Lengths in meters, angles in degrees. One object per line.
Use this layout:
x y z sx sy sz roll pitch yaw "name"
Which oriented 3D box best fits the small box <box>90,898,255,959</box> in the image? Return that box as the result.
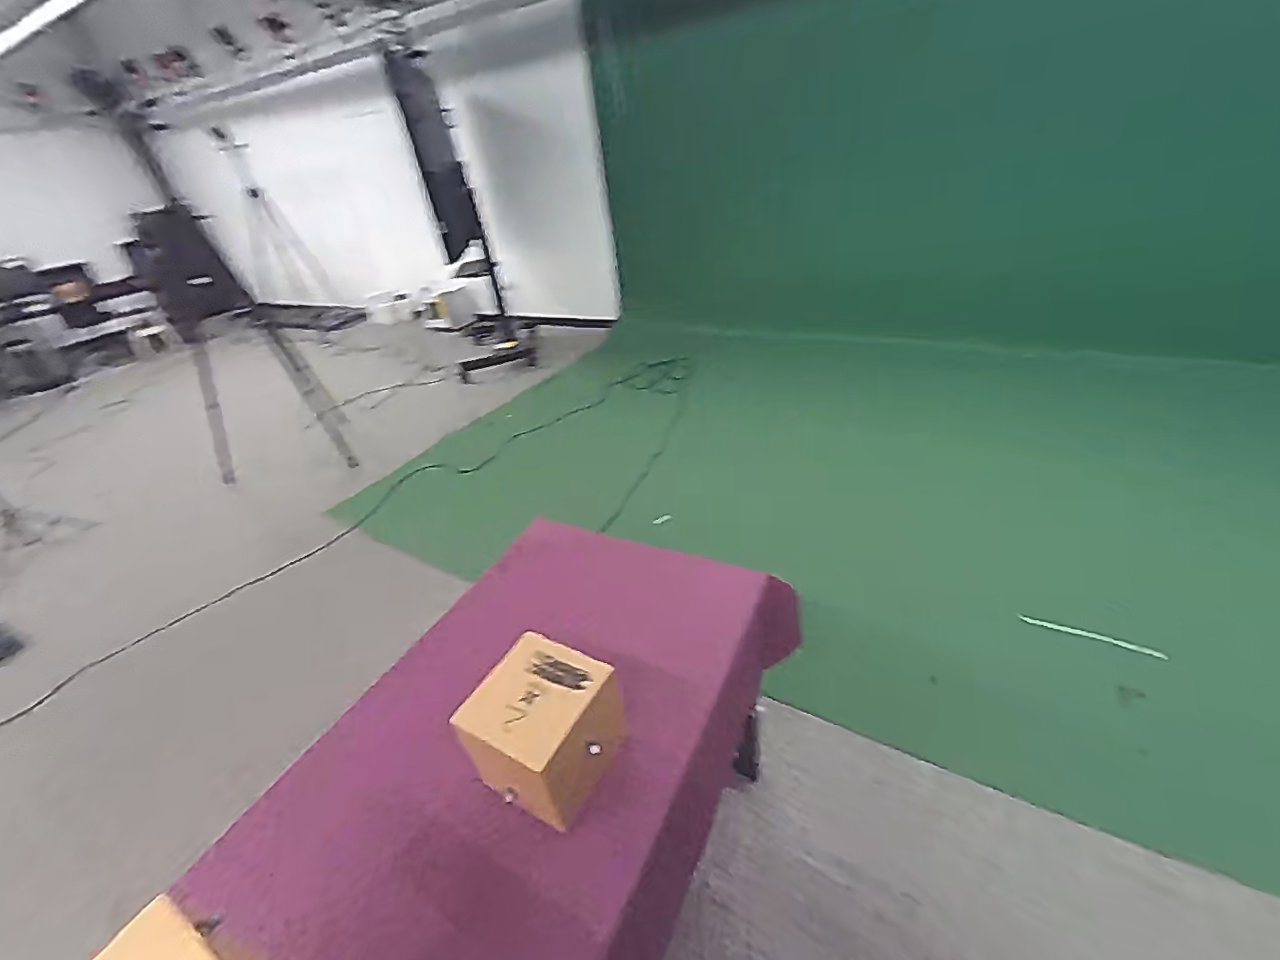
-0.361 0.475 0.404 0.179 0.176 0.168 11 38 29 "small box"
